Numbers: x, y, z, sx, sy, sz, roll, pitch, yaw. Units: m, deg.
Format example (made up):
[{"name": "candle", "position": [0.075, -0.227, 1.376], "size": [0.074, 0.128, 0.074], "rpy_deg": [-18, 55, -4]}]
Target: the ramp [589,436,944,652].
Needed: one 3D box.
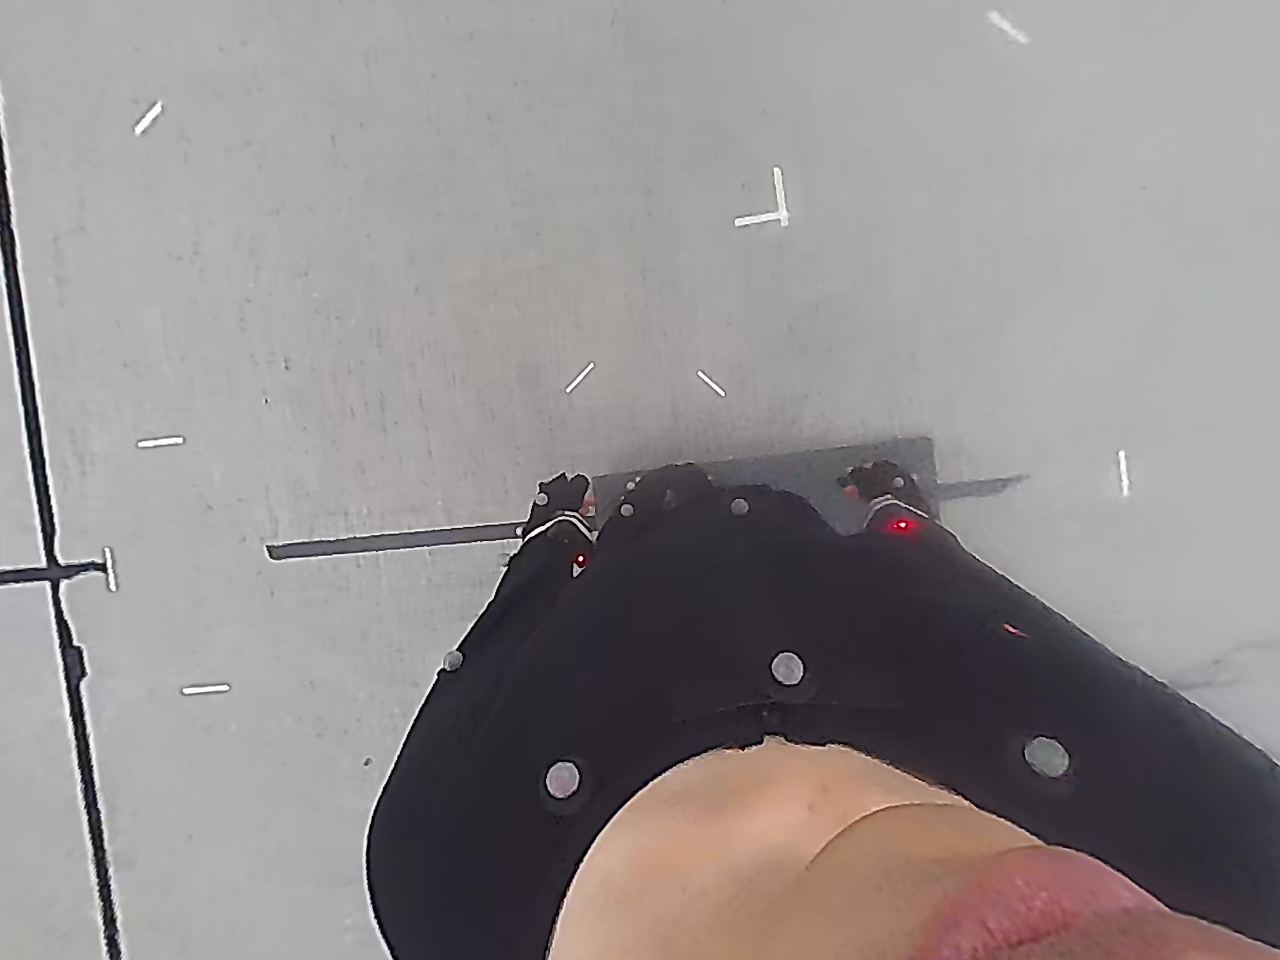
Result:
[{"name": "ramp", "position": [0.378, 0.167, 1.535], "size": [0.991, 0.206, 0.509], "rpy_deg": [-9, 90, 3]}]
